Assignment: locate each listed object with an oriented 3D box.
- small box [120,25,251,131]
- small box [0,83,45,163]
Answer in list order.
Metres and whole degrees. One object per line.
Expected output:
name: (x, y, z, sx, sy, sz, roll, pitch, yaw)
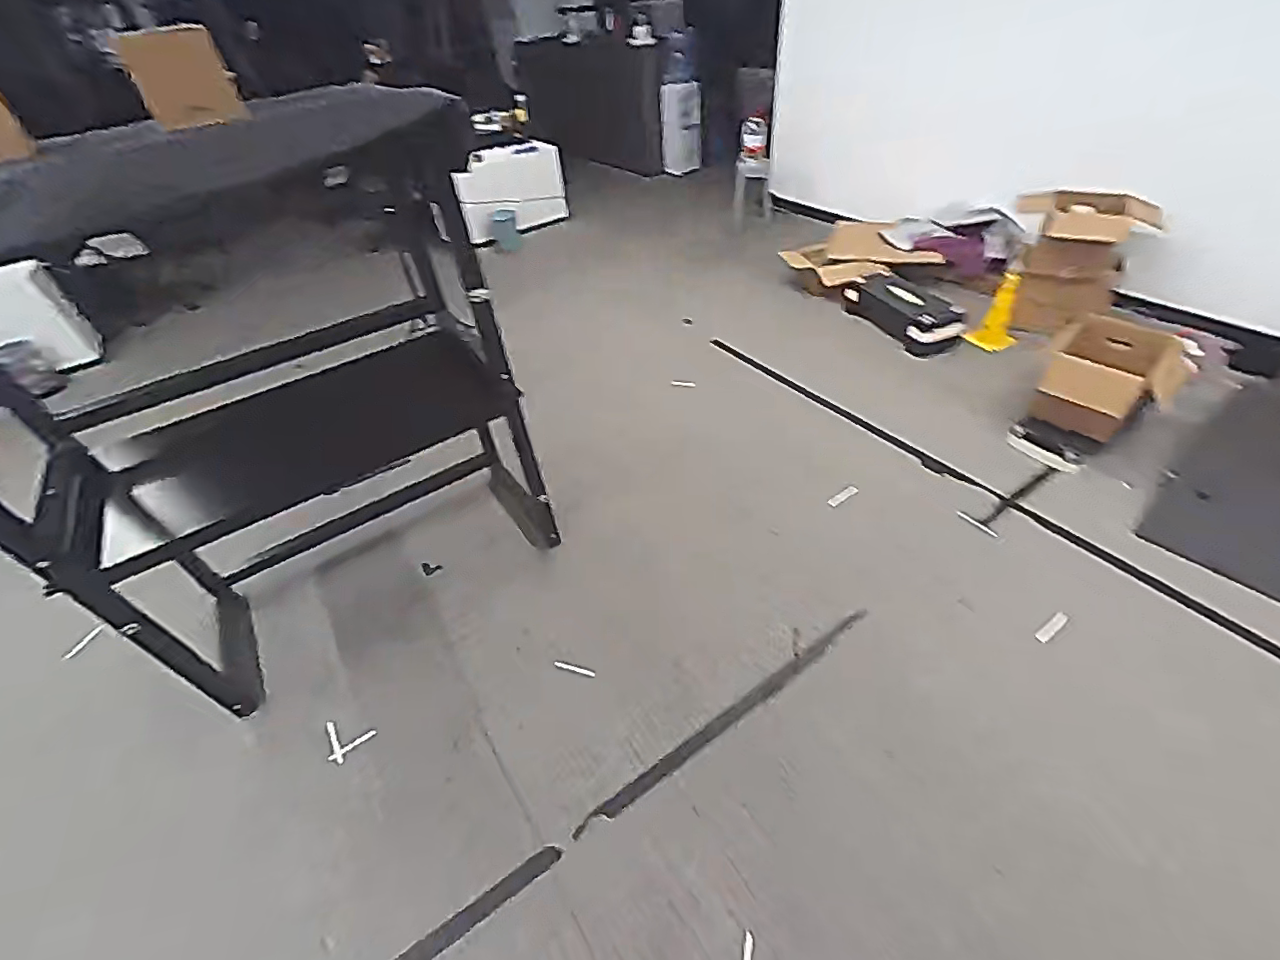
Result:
small box: (-1.021, -0.915, 1.228, 0.179, 0.176, 0.168, -28, 47, -22)
small box: (-1.348, -0.730, 1.071, 0.168, 0.176, 0.179, -31, 48, -24)
